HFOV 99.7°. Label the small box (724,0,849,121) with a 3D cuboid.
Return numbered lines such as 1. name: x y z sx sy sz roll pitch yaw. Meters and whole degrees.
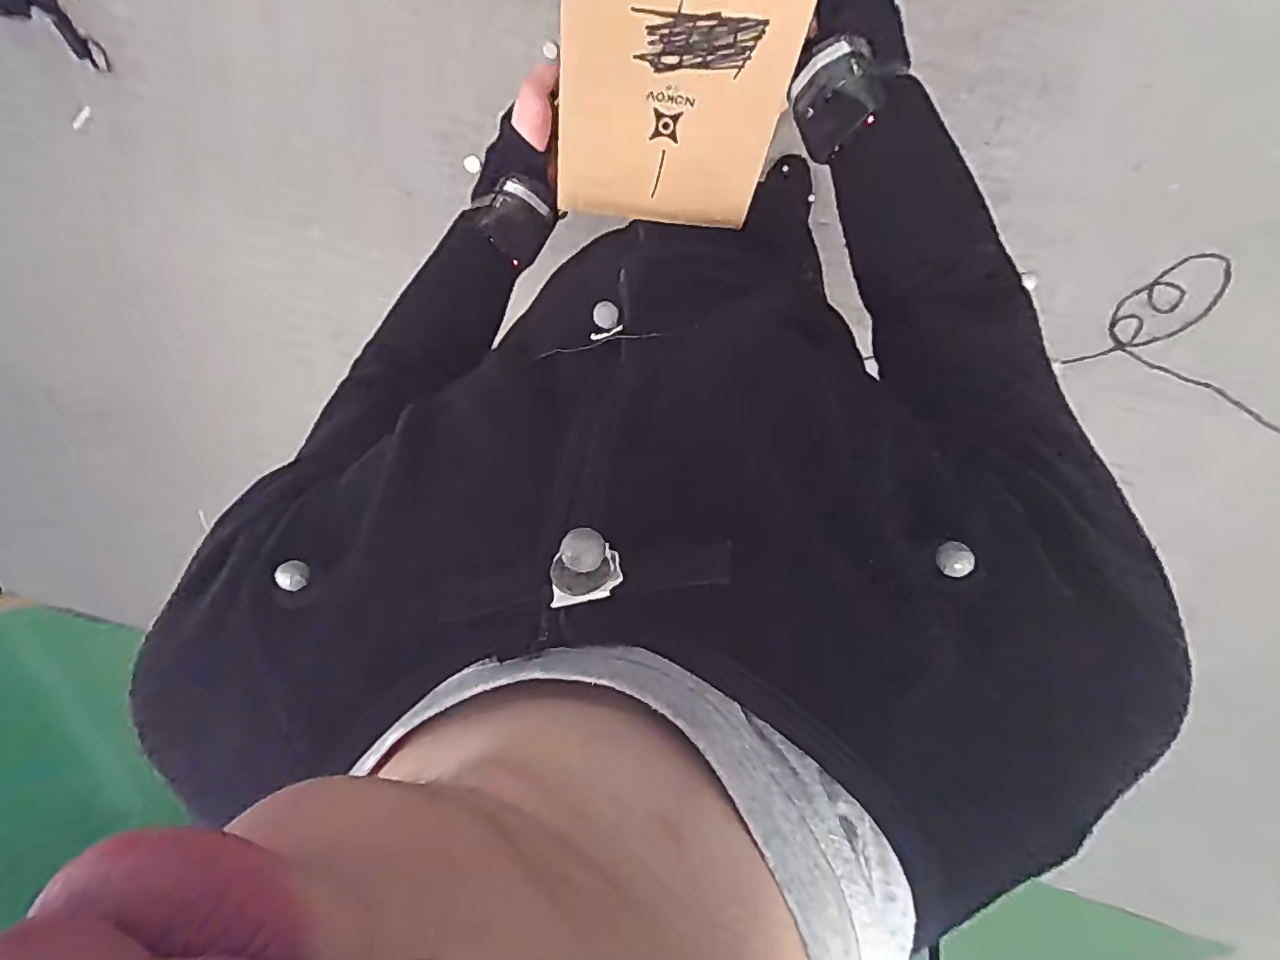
1. small box: 0.287 -0.848 1.073 0.179 0.176 0.168 -30 112 26
